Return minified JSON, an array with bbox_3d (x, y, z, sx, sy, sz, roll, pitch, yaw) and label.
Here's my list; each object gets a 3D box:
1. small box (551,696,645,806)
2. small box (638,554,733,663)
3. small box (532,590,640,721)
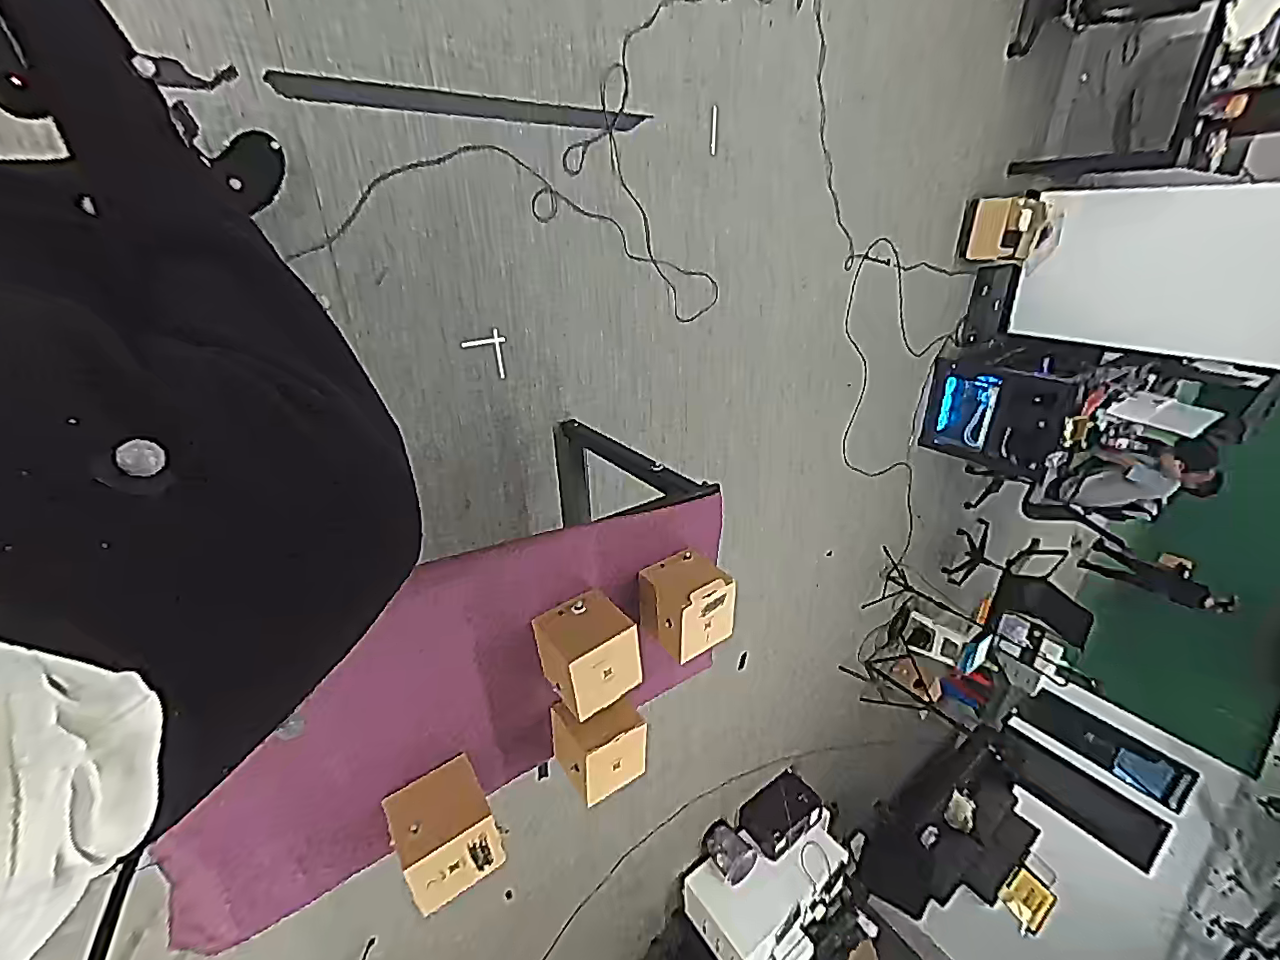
[{"bbox_3d":[-0.104,0.627,1.306,0.168,0.176,0.179,-15,119,-32],"label":"small box"},{"bbox_3d":[0.107,0.302,1.321,0.168,0.176,0.179,-20,123,-30],"label":"small box"},{"bbox_3d":[-0.117,0.374,1.181,0.168,0.176,0.179,-23,124,-29],"label":"small box"}]
